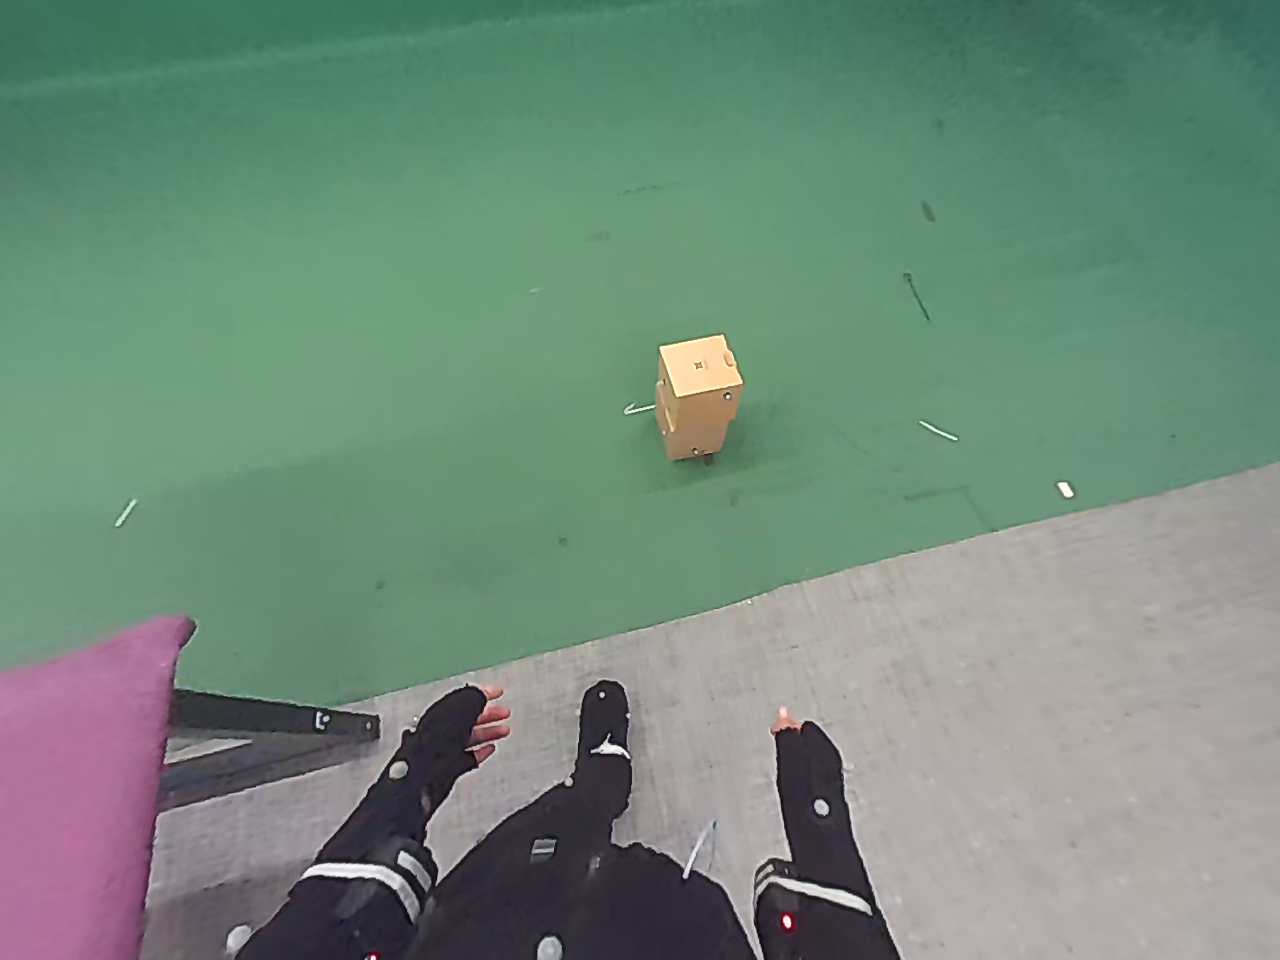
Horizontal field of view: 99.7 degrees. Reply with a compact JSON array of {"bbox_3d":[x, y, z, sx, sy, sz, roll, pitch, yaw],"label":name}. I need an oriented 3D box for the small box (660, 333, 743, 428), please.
[{"bbox_3d":[0.155,-0.258,1.438,0.179,0.176,0.168,-13,64,-7],"label":"small box"}]
